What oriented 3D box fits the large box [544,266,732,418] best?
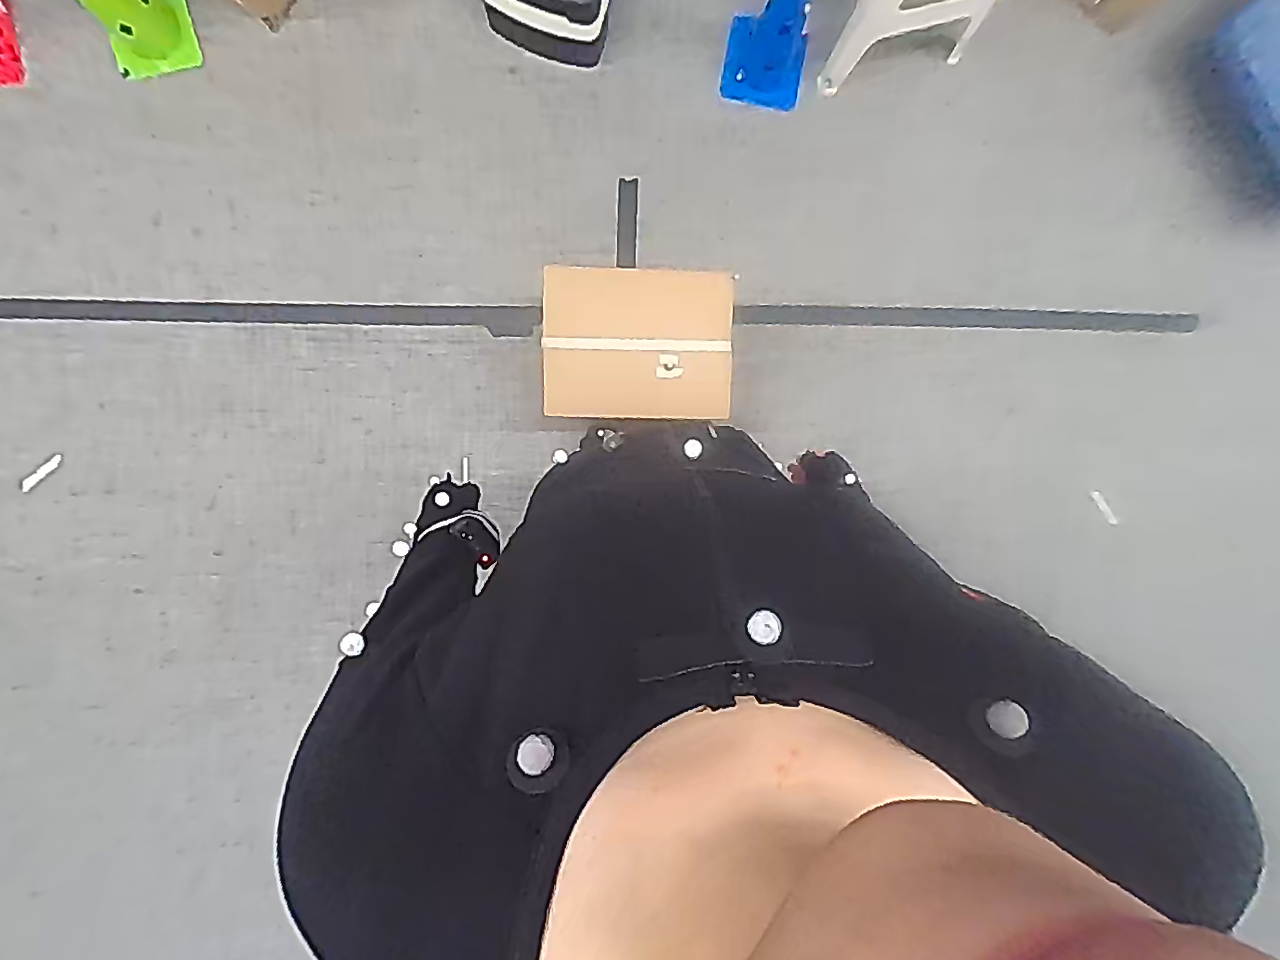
[{"bbox_3d":[-0.013,-0.309,1.299,0.408,0.320,0.320,0,97,-4],"label":"large box"}]
